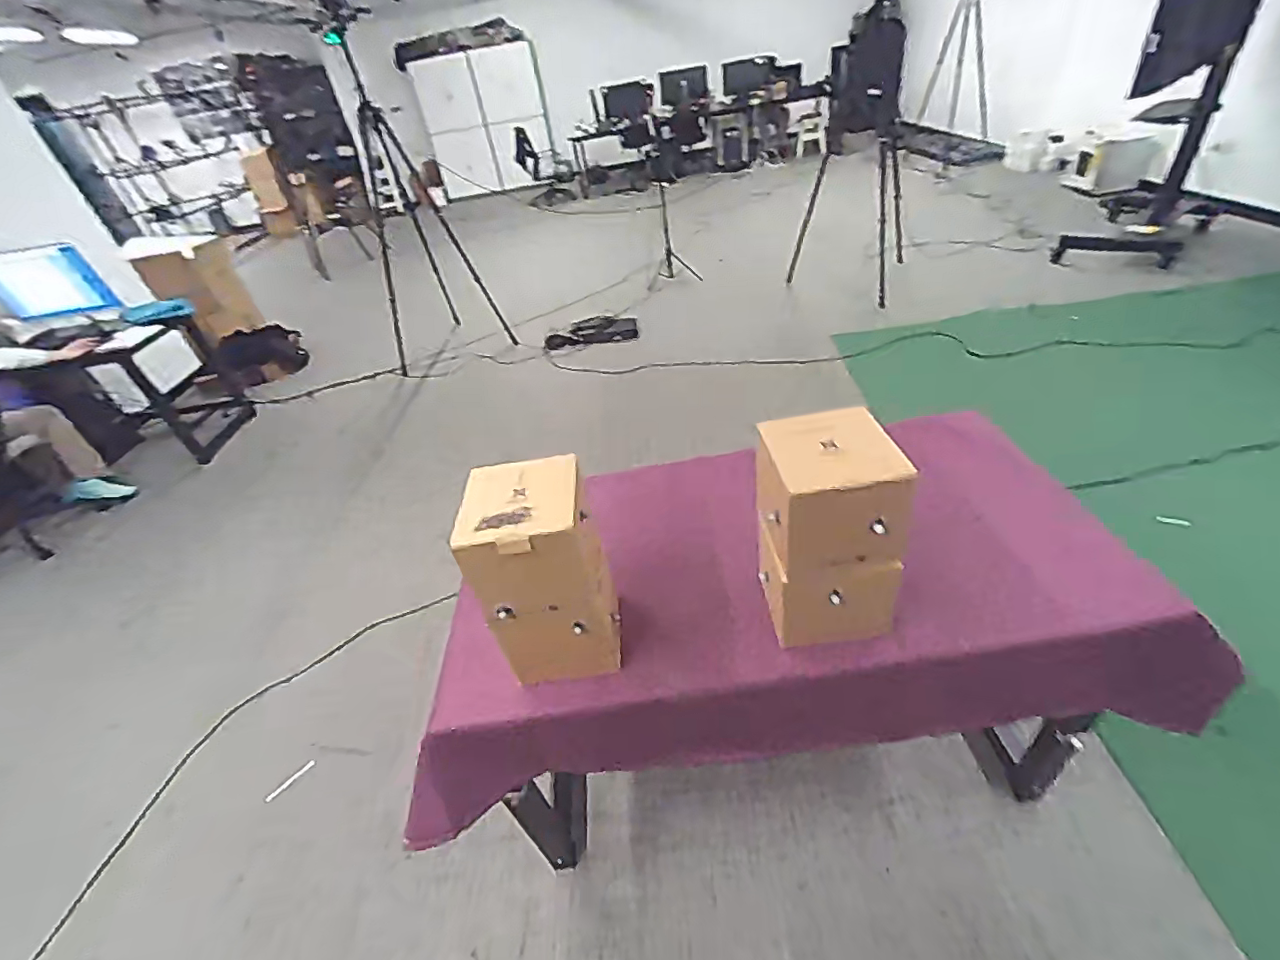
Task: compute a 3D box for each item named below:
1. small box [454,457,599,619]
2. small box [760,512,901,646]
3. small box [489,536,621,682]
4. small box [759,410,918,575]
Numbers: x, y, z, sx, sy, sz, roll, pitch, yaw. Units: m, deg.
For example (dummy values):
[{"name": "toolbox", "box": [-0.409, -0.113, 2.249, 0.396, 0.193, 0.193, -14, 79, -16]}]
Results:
[{"name": "small box", "box": [-0.156, 0.091, 0.813, 0.168, 0.176, 0.179, -9, 36, 2]}, {"name": "small box", "box": [0.301, 0.154, 0.888, 0.179, 0.176, 0.168, -8, 39, 4]}, {"name": "small box", "box": [-0.134, 0.220, 0.912, 0.179, 0.176, 0.168, -8, 38, 2]}, {"name": "small box", "box": [0.277, 0.024, 0.793, 0.168, 0.176, 0.179, -9, 37, 2]}]
